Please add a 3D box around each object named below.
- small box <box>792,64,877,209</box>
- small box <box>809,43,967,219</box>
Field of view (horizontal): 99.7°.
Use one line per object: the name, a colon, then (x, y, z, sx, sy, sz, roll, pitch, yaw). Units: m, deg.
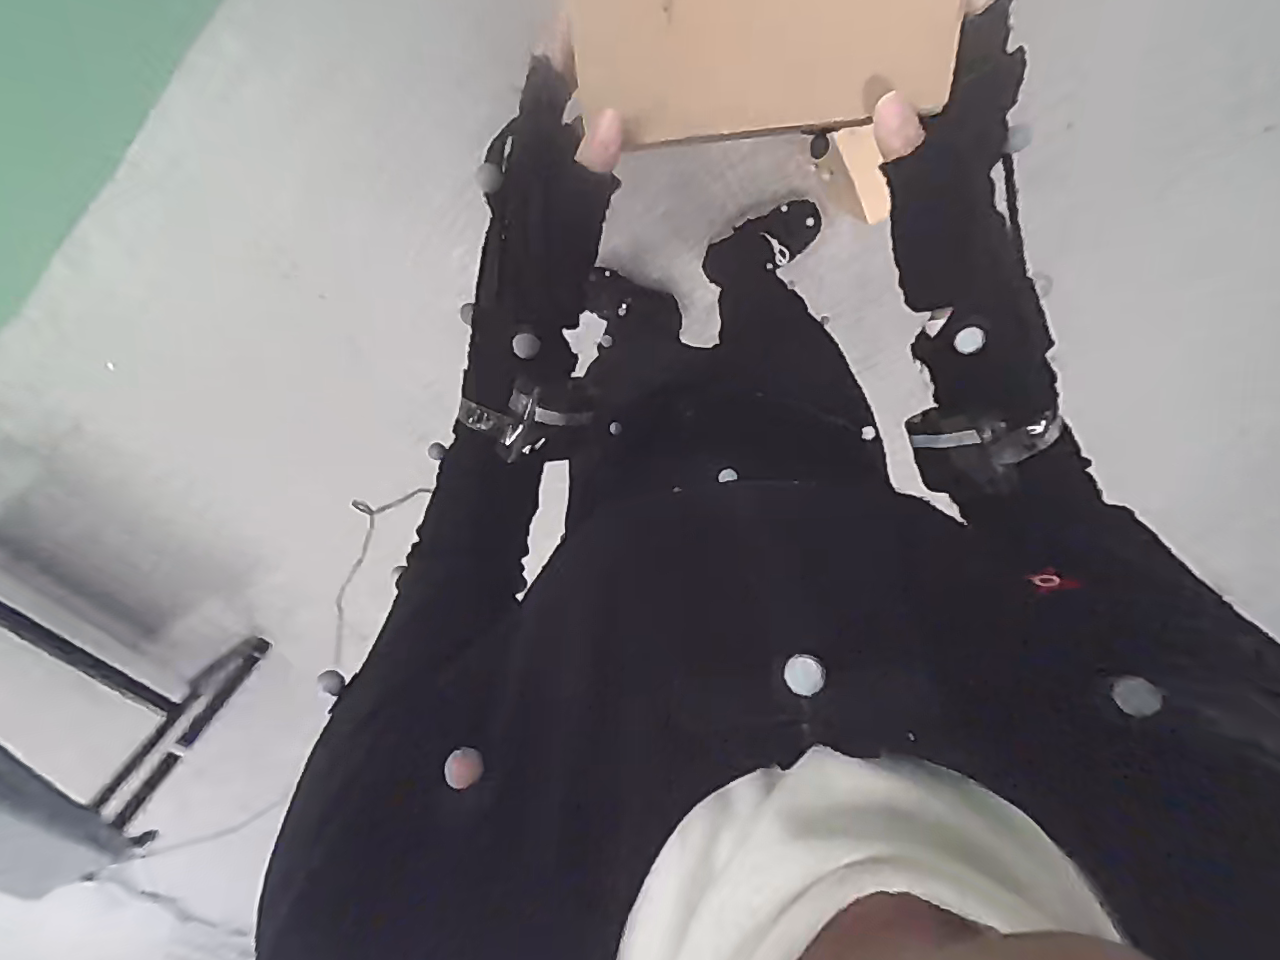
small box: (0.410, -0.653, 1.025, 0.168, 0.176, 0.179, -30, 116, 22)
small box: (0.398, -0.567, 0.888, 0.168, 0.176, 0.179, -26, 118, 20)
